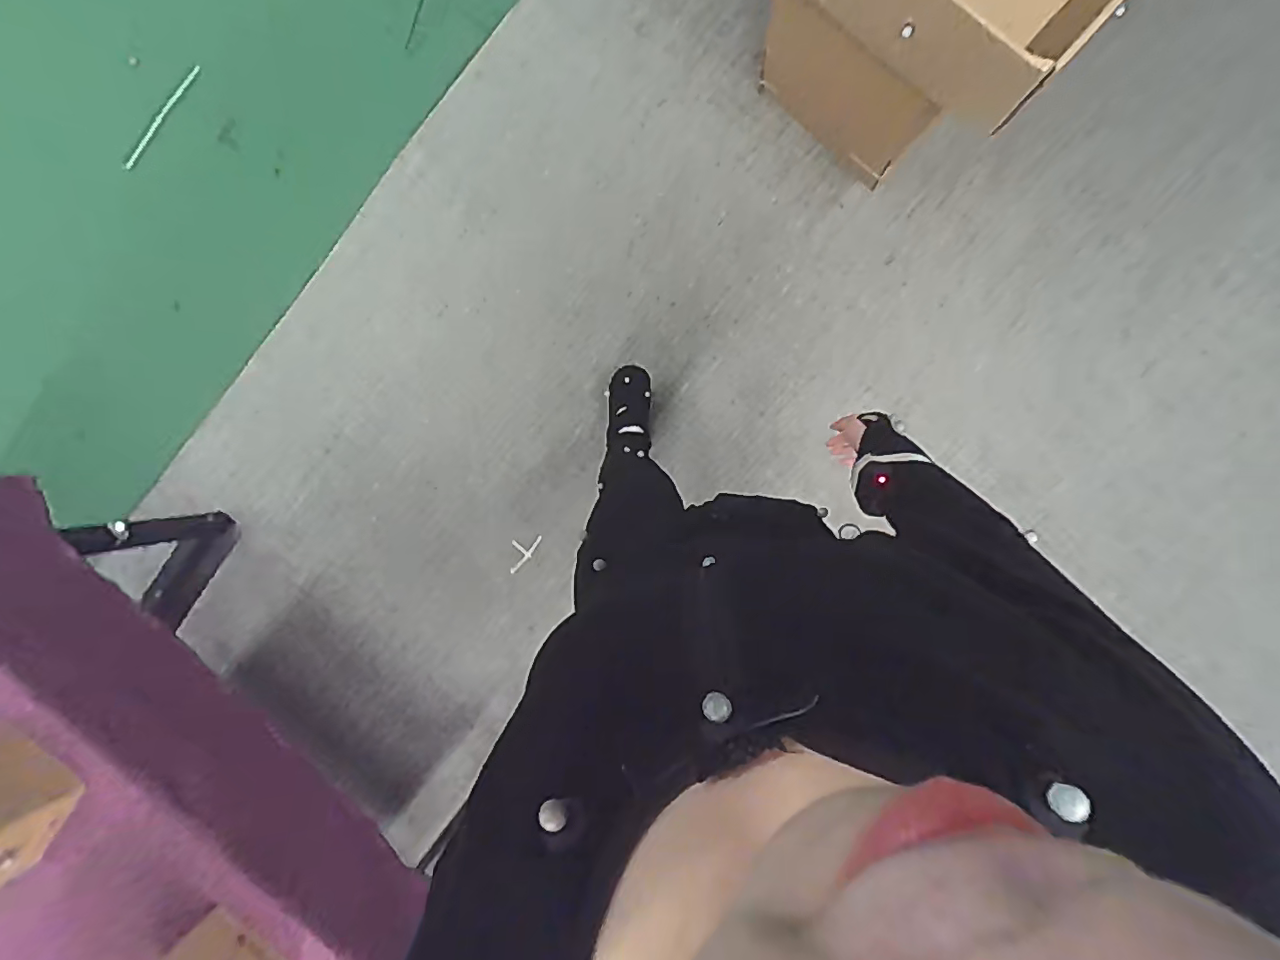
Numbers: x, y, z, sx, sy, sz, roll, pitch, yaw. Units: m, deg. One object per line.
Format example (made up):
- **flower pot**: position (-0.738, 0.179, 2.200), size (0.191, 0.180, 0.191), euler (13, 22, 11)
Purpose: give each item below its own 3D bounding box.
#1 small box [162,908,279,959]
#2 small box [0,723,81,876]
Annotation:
- **small box**: position (-0.639, 0.768, 0.757), size (0.168, 0.176, 0.179), euler (37, 95, 4)
- **small box**: position (-0.990, 0.491, 0.780), size (0.179, 0.176, 0.168), euler (36, 94, 2)
